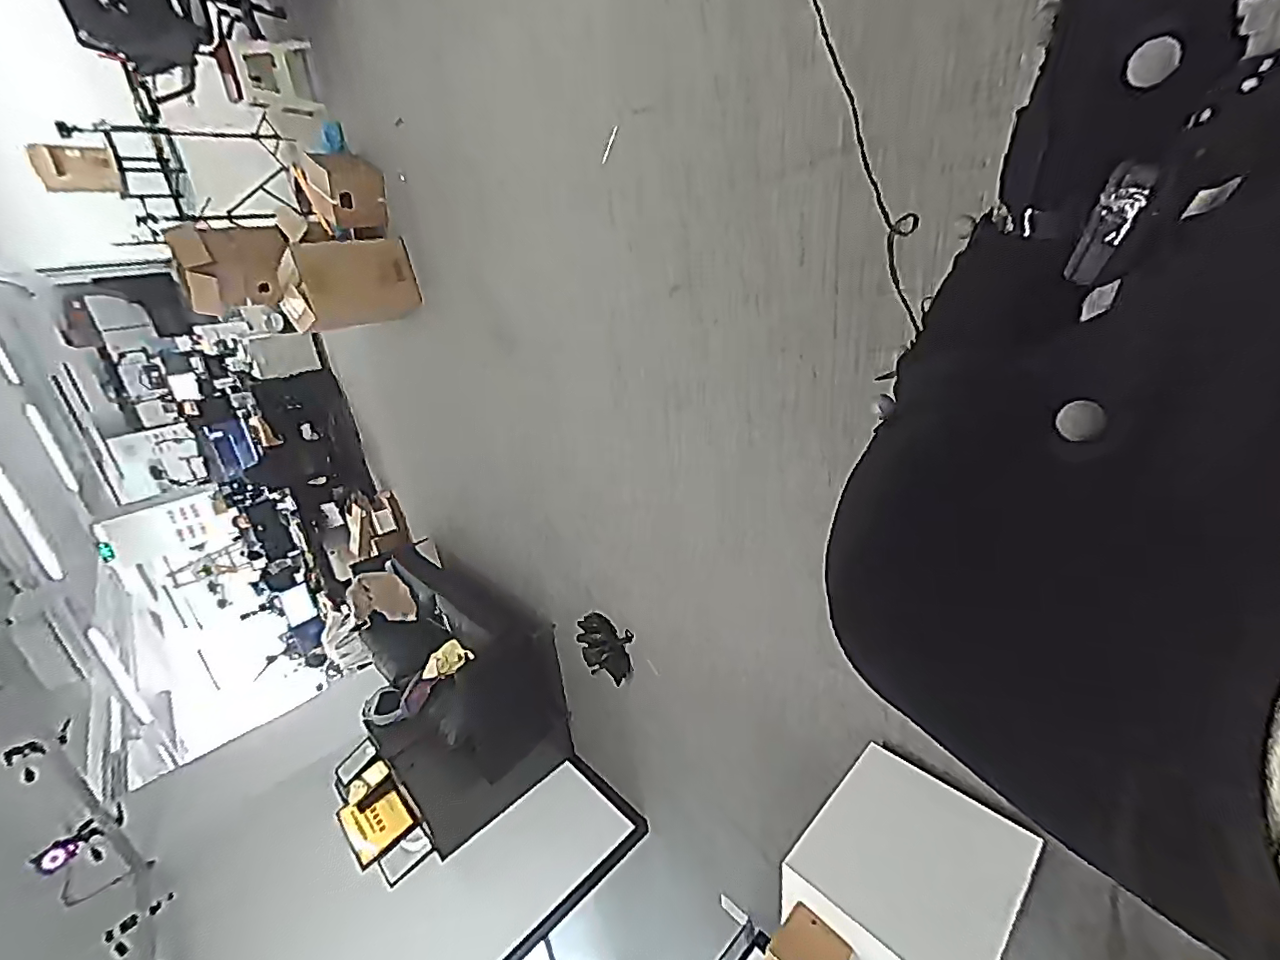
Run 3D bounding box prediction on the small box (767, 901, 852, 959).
[{"bbox_3d":[0.467,1.333,1.493,0.168,0.176,0.179,22,126,42],"label":"small box"}]
